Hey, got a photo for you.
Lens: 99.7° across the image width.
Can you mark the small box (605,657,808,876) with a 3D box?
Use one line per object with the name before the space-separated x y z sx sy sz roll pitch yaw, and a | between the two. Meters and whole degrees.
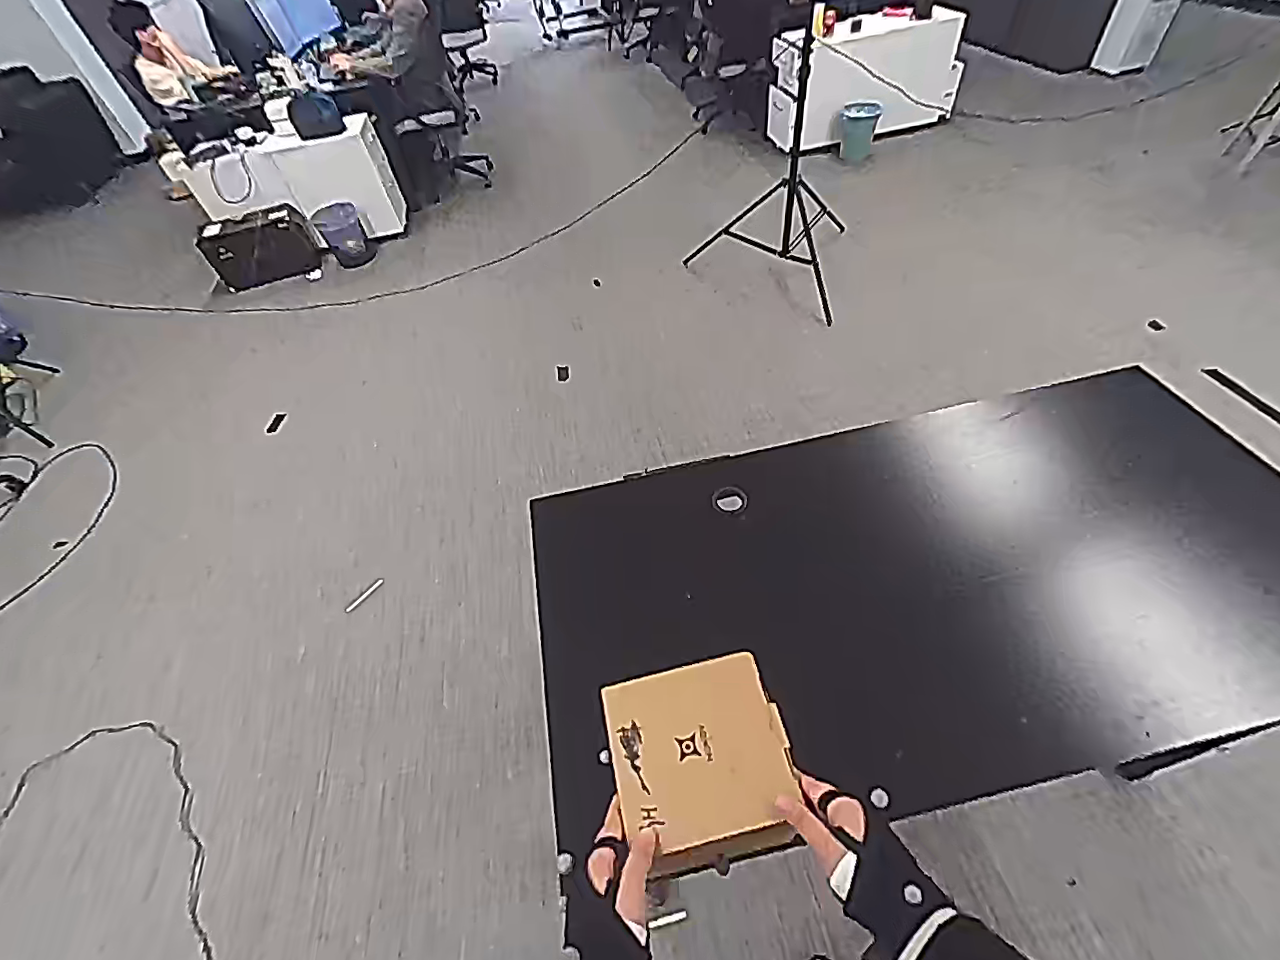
small box | 0.066 0.326 0.614 0.179 0.176 0.168 -12 49 -4
